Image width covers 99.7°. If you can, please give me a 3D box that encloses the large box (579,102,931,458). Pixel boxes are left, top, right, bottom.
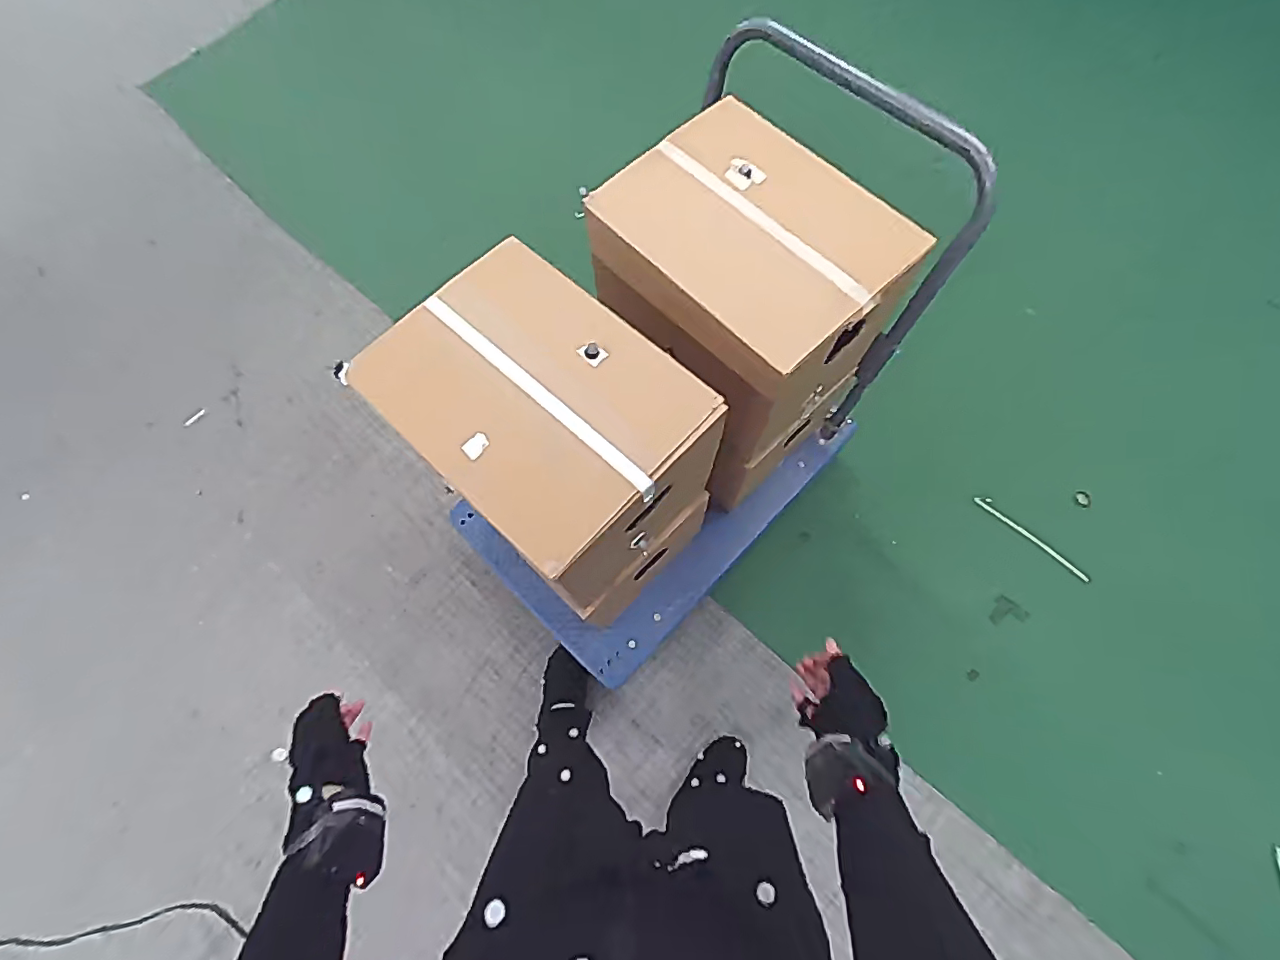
[{"bbox_3d":[0.165,-0.311,0.902,0.320,0.320,0.408,-41,73,-11],"label":"large box"}]
